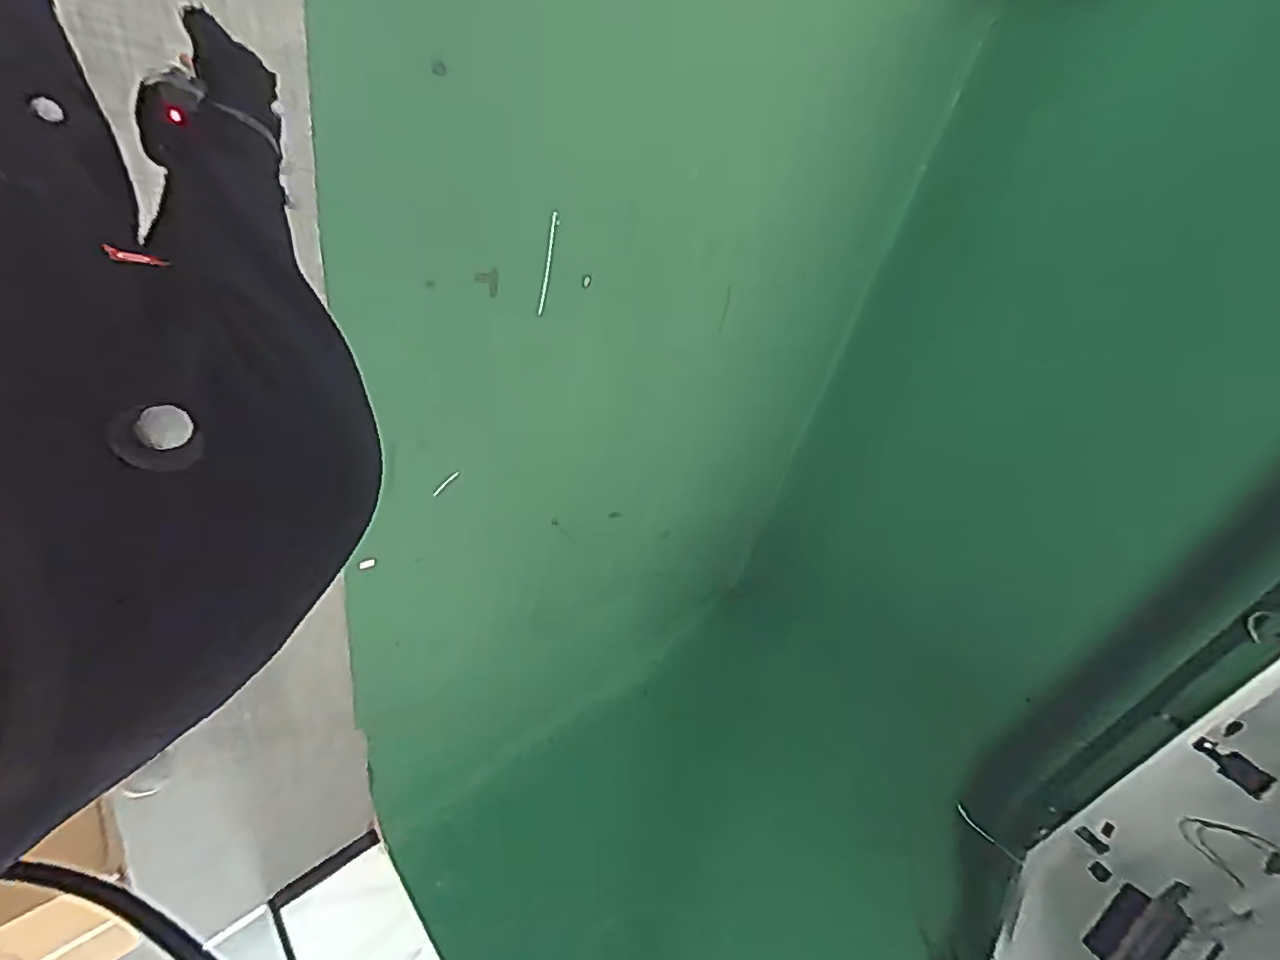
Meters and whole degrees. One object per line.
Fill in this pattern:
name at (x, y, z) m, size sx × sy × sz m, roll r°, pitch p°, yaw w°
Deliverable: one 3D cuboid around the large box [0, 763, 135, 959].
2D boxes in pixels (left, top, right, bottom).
large box at (-1.298, 0.856, 1.038) m, size 0.408 × 0.320 × 0.320 m, roll -17°, pitch 131°, yaw -45°
